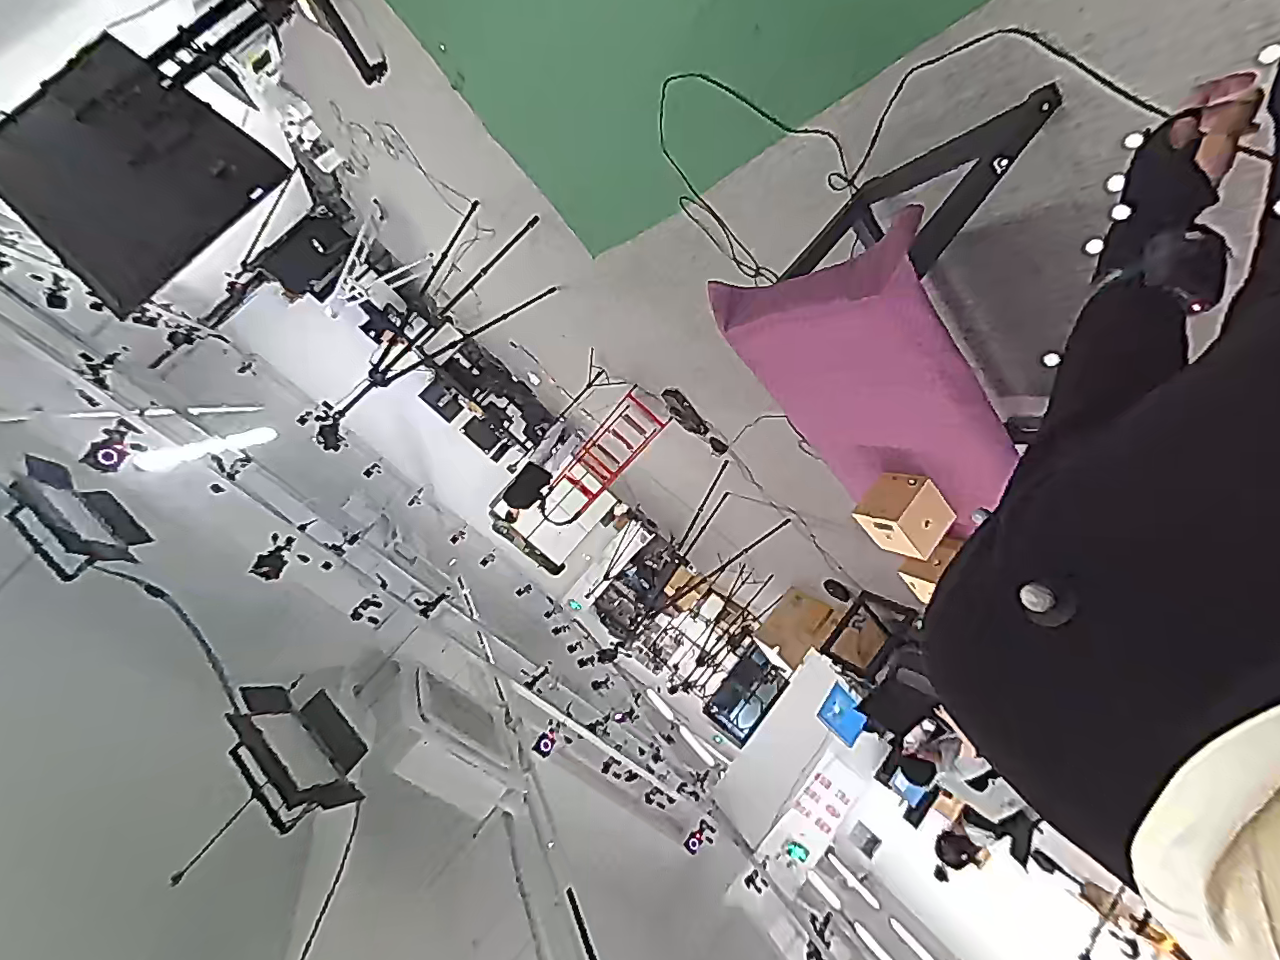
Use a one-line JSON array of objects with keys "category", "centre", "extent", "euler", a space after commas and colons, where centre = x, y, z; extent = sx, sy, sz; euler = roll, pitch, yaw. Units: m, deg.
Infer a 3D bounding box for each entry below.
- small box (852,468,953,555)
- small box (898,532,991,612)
[{"category": "small box", "centre": [0.763, 0.085, 1.572], "extent": [0.179, 0.176, 0.168], "euler": [44, 169, -21]}, {"category": "small box", "centre": [0.954, 0.276, 1.682], "extent": [0.168, 0.176, 0.179], "euler": [46, 168, -21]}]
